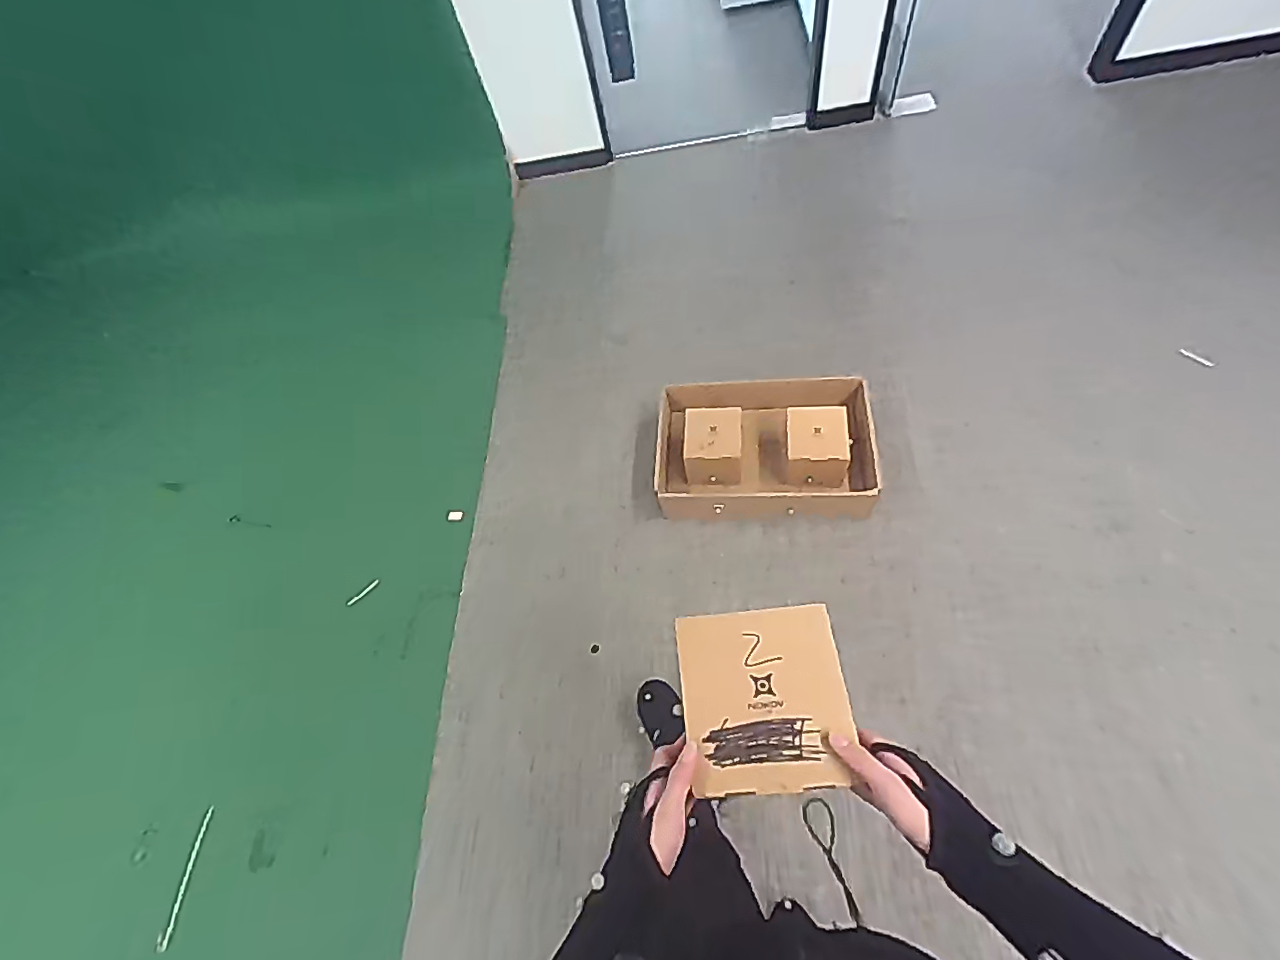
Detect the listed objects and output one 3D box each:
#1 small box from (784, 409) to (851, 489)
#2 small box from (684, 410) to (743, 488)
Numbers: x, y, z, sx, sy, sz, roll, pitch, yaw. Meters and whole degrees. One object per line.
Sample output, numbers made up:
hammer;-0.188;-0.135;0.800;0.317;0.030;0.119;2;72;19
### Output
small box;0.512;-0.089;1.581;0.168;0.176;0.179;1;62;12
small box;0.226;-0.093;1.638;0.168;0.176;0.179;0;61;11
